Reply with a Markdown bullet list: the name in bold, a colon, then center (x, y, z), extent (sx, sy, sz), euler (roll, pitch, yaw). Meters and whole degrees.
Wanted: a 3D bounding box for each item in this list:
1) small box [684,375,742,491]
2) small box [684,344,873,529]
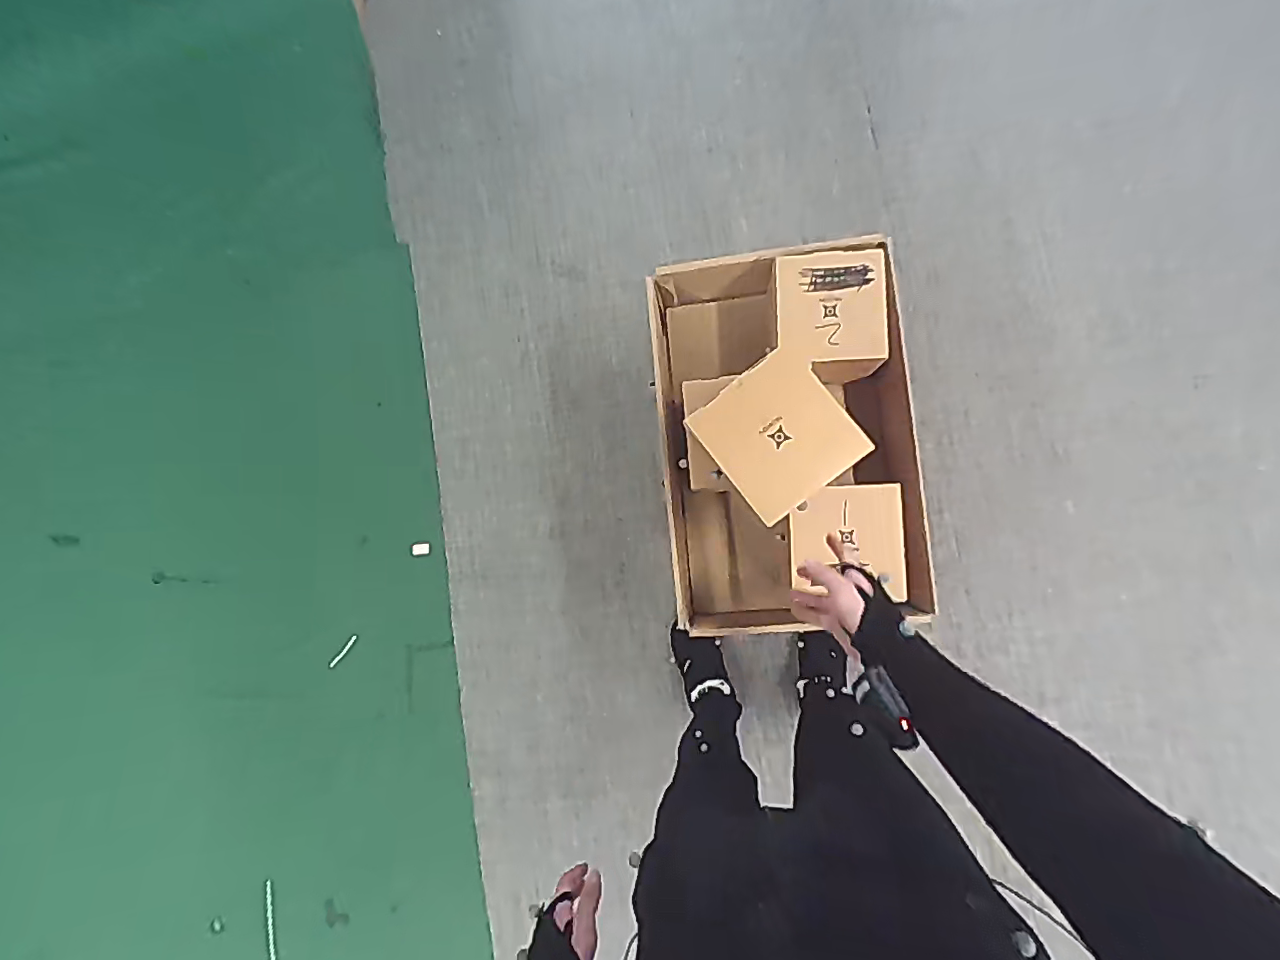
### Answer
- **small box**: center (0.166, -0.073, 0.916), extent (0.168, 0.176, 0.179), euler (-5, 86, 8)
- **small box**: center (0.182, -0.051, 0.748), extent (0.168, 0.176, 0.179), euler (-38, 81, 4)
